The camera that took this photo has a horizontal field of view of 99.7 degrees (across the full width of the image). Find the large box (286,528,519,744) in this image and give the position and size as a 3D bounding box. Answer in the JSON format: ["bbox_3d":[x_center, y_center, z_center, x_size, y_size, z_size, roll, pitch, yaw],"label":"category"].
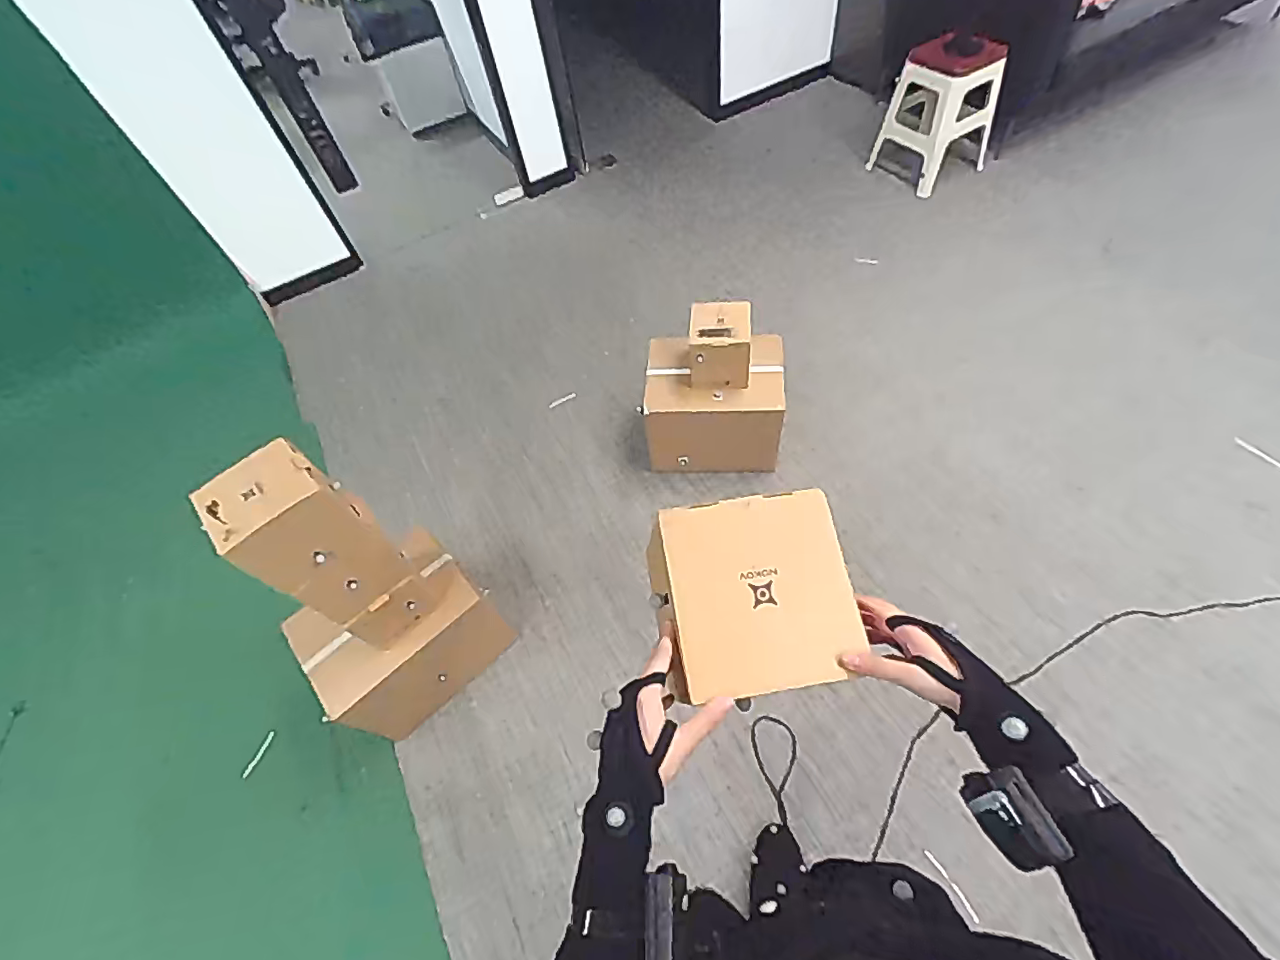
[{"bbox_3d":[-0.603,0.412,1.432,0.408,0.320,0.320,-41,58,-17],"label":"large box"}]

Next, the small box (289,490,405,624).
[{"bbox_3d":[-0.612,0.160,1.108,0.179,0.176,0.168,-41,60,-18],"label":"small box"}]

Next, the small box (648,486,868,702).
[{"bbox_3d":[0.103,0.124,0.560,0.168,0.176,0.179,-8,68,-5],"label":"small box"}]

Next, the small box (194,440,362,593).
[{"bbox_3d":[-0.636,0.068,0.974,0.179,0.176,0.168,-39,59,-19],"label":"small box"}]

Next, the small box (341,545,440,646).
[{"bbox_3d":[-0.593,0.256,1.239,0.168,0.176,0.179,-39,59,-18],"label":"small box"}]
